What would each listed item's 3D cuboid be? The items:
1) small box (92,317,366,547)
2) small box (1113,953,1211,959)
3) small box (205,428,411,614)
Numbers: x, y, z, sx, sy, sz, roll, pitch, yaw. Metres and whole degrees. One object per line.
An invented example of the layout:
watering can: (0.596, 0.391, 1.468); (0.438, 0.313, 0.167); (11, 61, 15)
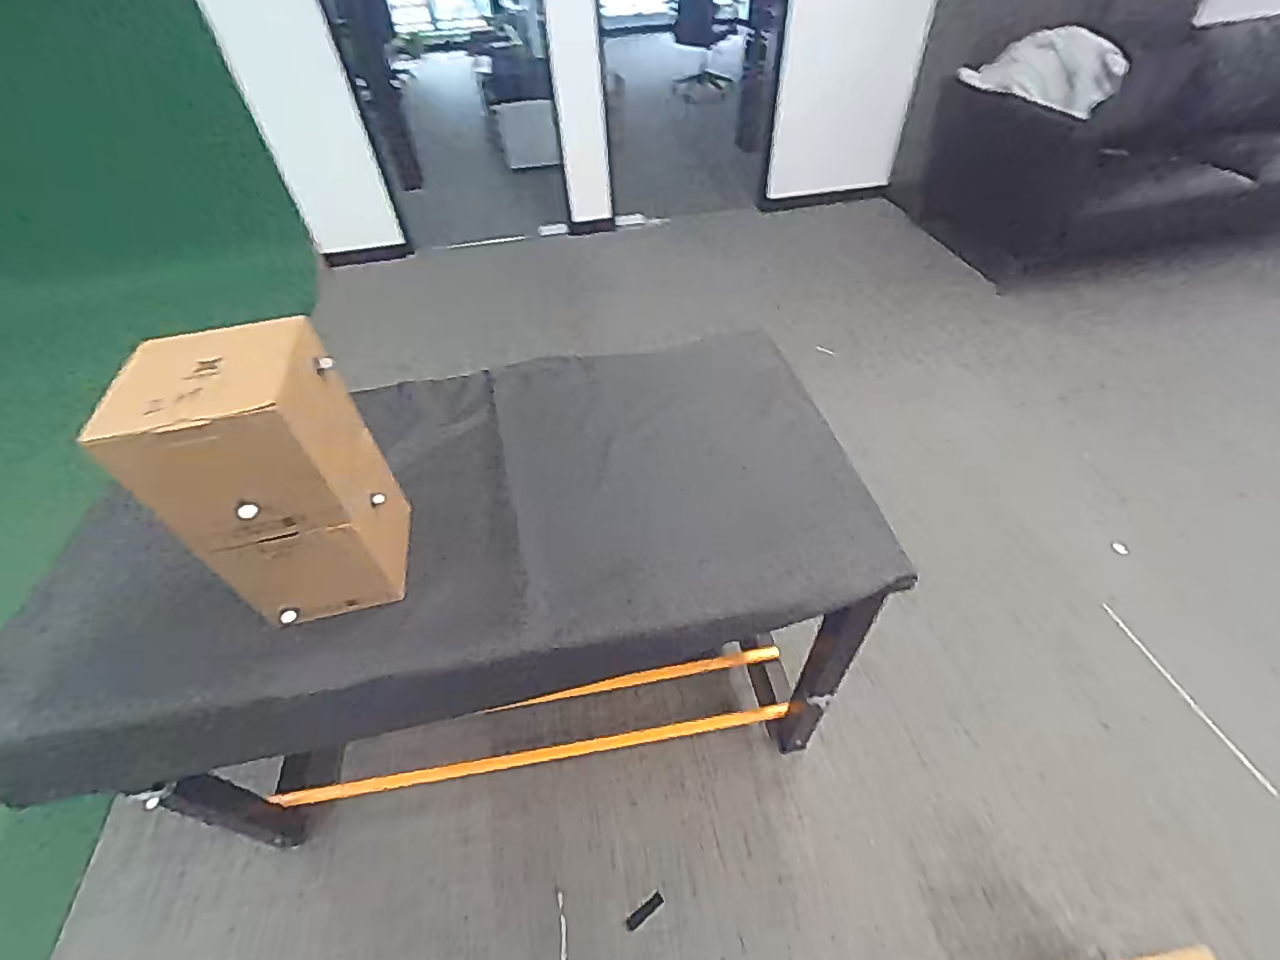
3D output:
small box: (-0.427, -0.055, 0.605); (0.168, 0.176, 0.179); (-13, 47, -8)
small box: (0.723, 0.784, 0.747); (0.168, 0.176, 0.179); (-7, 46, -5)
small box: (-0.419, 0.060, 0.723); (0.168, 0.176, 0.179); (-11, 46, -8)
